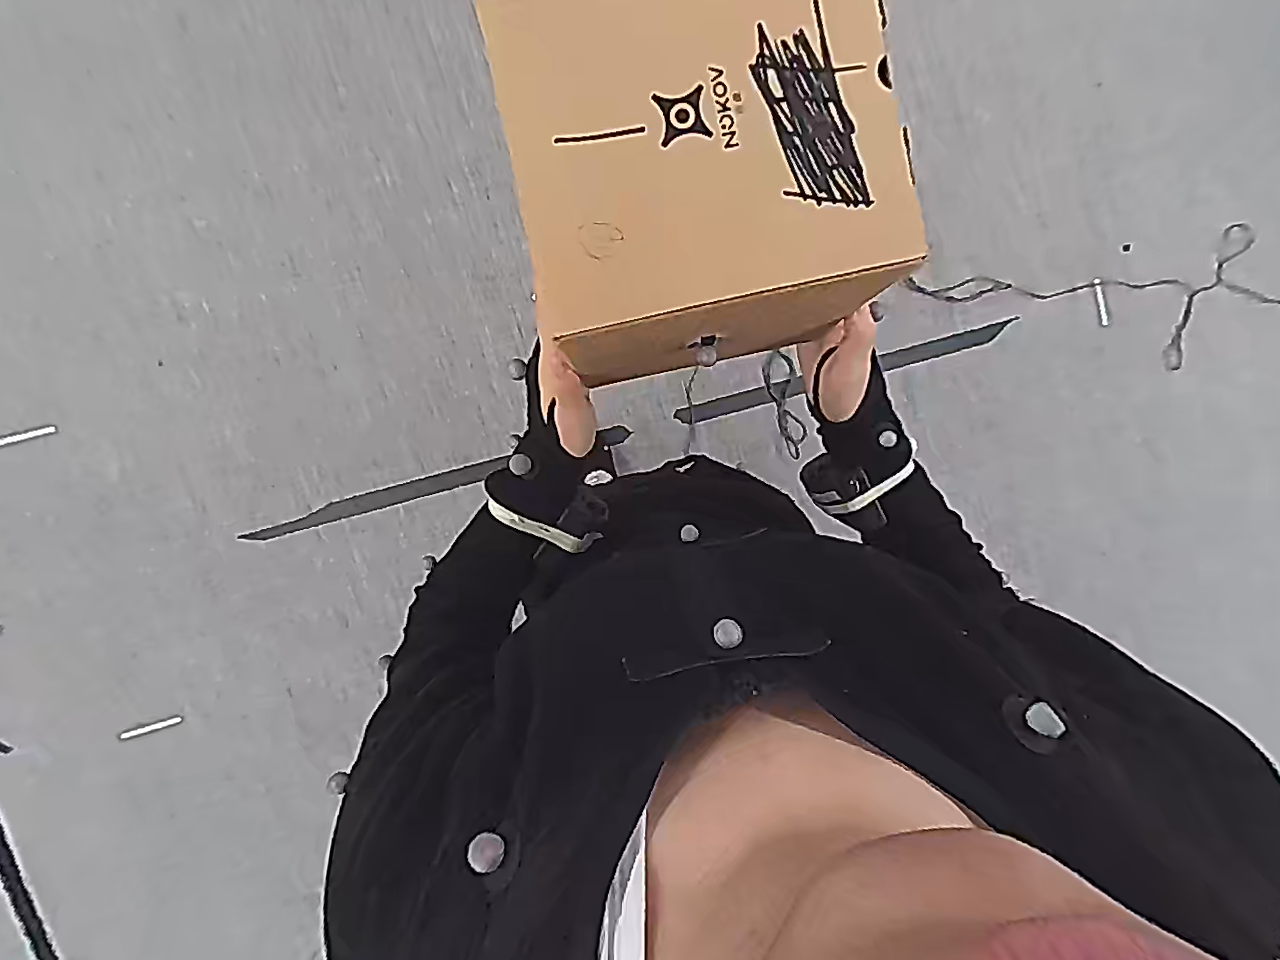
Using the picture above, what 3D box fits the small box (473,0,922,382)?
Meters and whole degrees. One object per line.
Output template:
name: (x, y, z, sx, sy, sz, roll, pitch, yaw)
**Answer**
small box: (0.027, -0.163, 0.317, 0.179, 0.176, 0.168, -12, 92, 2)
